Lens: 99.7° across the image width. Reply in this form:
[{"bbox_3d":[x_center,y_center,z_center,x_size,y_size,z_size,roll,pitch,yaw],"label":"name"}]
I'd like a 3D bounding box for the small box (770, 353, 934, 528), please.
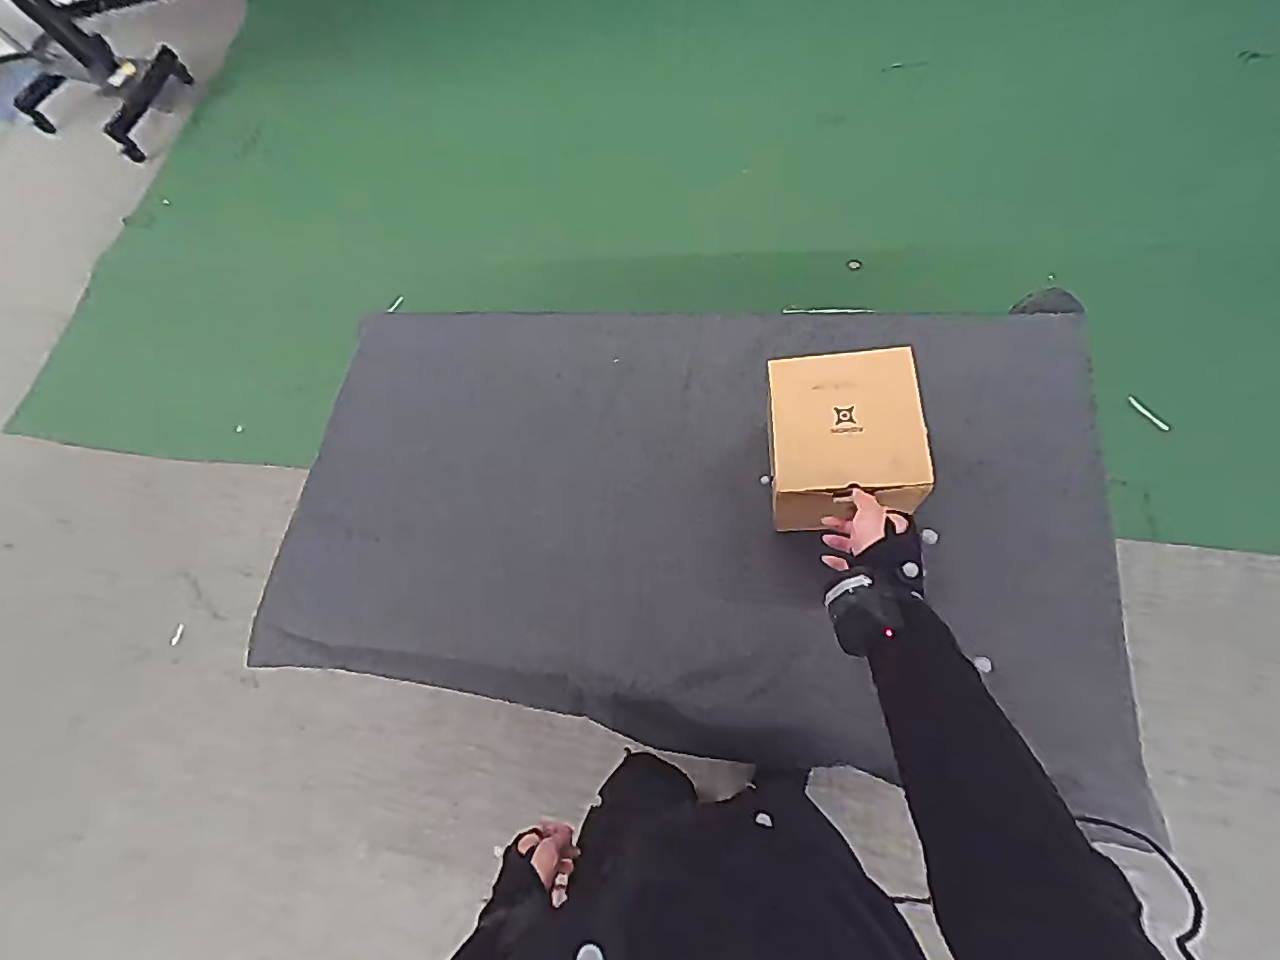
[{"bbox_3d":[0.257,-0.039,0.699,0.168,0.176,0.179,-3,68,11],"label":"small box"}]
